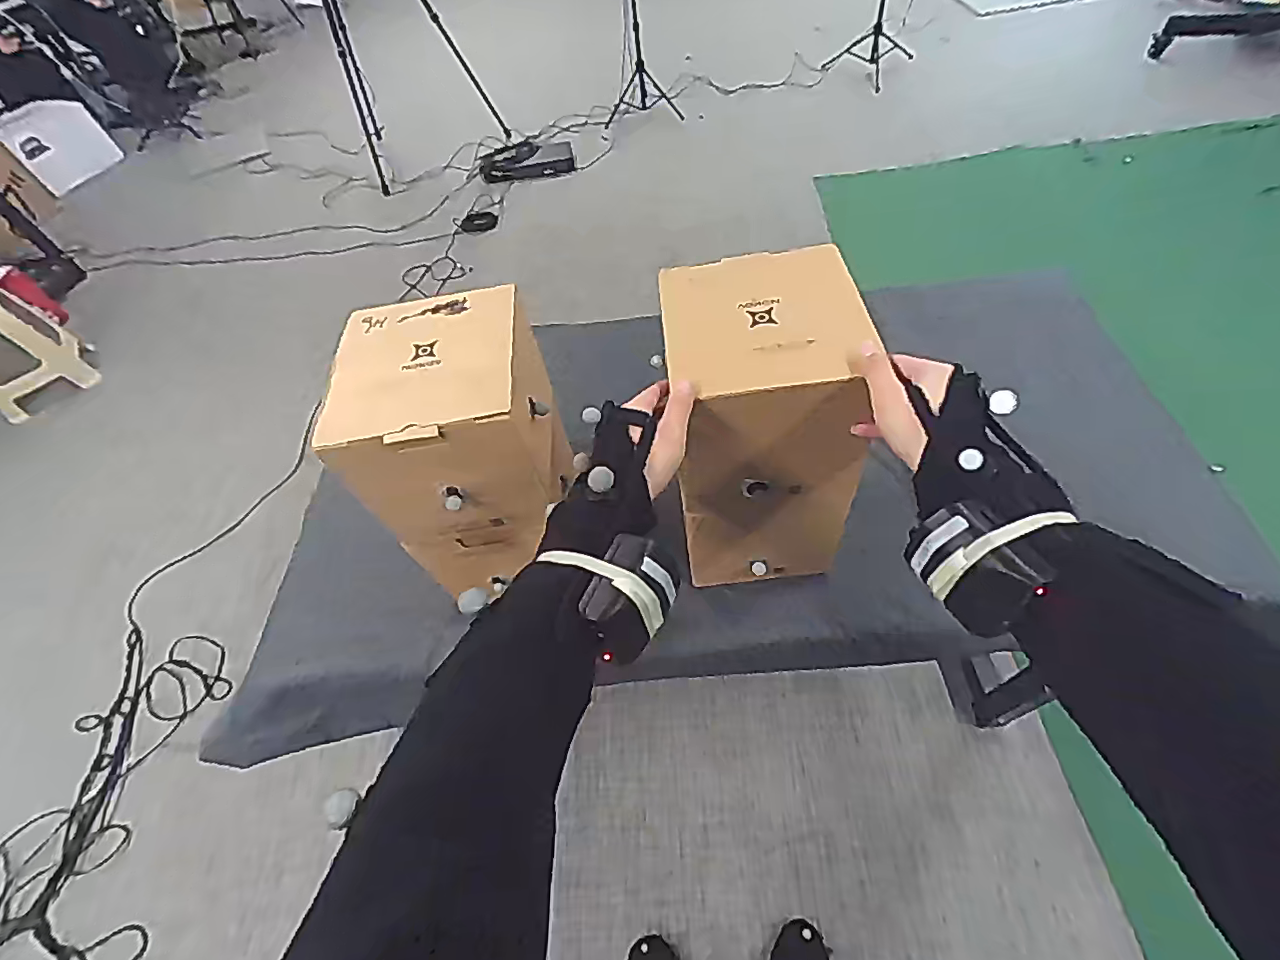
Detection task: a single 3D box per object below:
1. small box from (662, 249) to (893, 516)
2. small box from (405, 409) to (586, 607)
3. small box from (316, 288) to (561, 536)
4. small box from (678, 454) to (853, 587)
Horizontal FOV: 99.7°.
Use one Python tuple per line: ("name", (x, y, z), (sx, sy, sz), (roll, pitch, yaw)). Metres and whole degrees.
("small box", (0.114, -0.087, 0.517), (0.168, 0.176, 0.179), (-7, 53, 5))
("small box", (-0.164, 0.037, 0.674), (0.168, 0.176, 0.179), (-8, 54, 2))
("small box", (-0.178, -0.057, 0.540), (0.168, 0.176, 0.179), (-9, 54, 2))
("small box", (0.133, 0.008, 0.647), (0.168, 0.176, 0.179), (-7, 53, 4))
